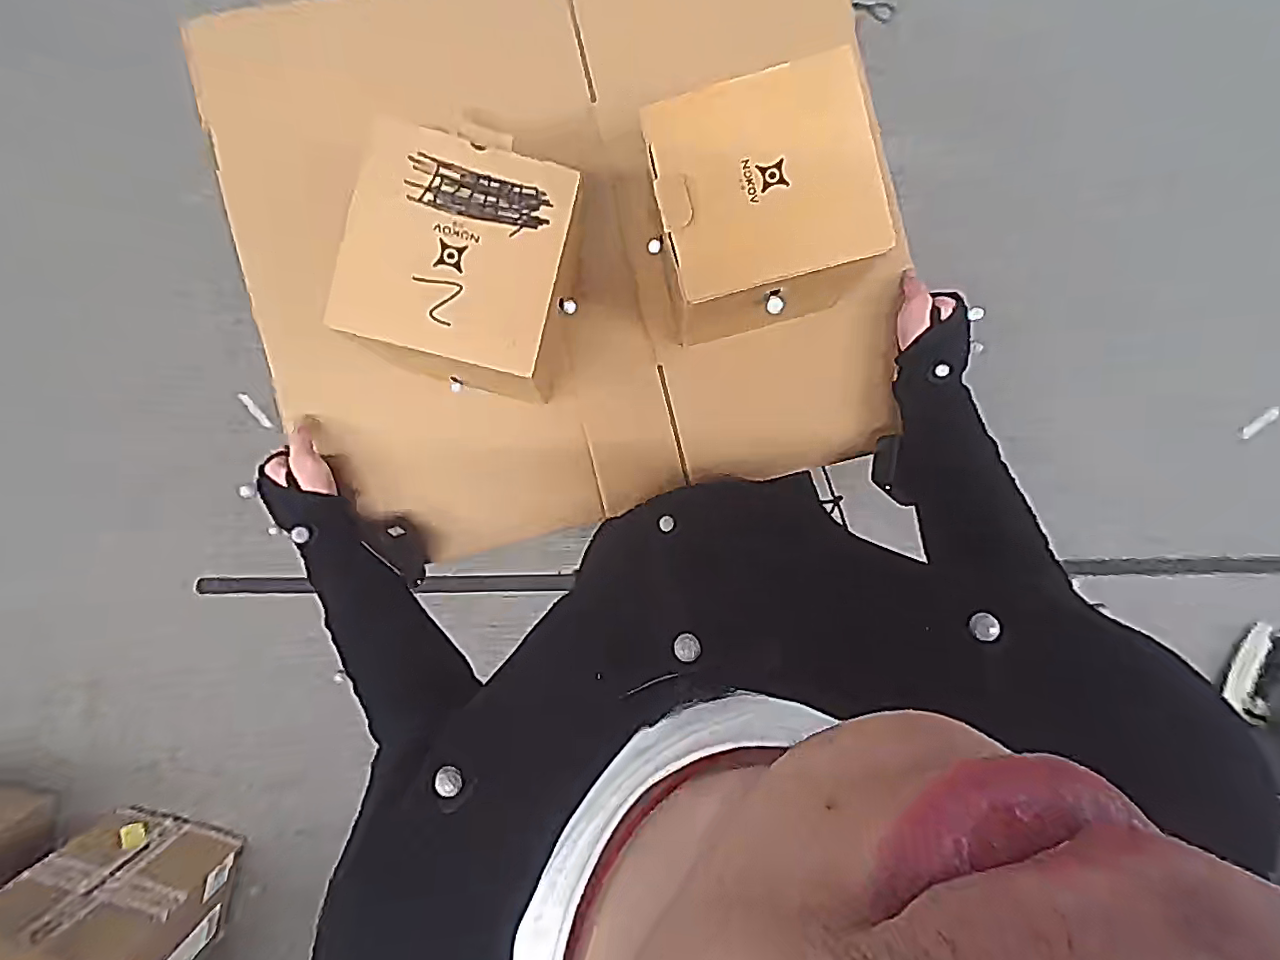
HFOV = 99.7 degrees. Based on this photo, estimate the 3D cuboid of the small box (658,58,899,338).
[{"bbox_3d":[0.118,-0.252,0.528,0.179,0.176,0.168,-13,91,4],"label":"small box"}]
